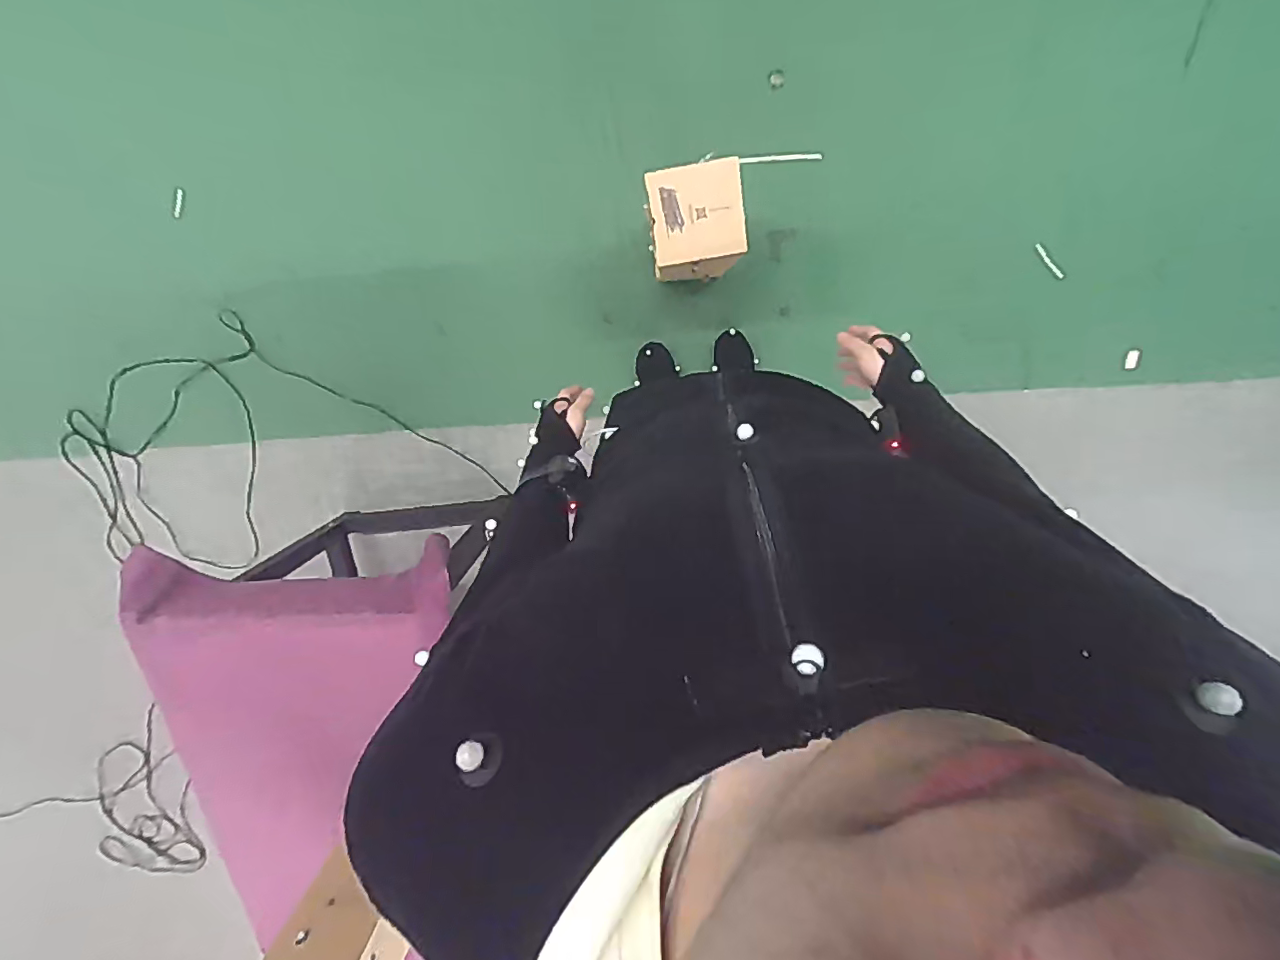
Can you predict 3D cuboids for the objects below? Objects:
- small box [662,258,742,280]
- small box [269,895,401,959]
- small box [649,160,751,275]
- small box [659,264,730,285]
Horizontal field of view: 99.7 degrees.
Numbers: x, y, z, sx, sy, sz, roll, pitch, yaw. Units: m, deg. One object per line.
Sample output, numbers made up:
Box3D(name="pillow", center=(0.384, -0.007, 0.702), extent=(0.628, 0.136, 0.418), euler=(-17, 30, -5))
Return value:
Box3D(name="small box", center=(0.132, -0.559, 1.242), extent=(0.179, 0.176, 0.168), euler=(-6, 106, 6))
Box3D(name="small box", center=(-0.544, 0.872, 0.947), extent=(0.168, 0.176, 0.179), euler=(1, 106, 4))
Box3D(name="small box", center=(0.118, -0.515, 1.084), extent=(0.179, 0.176, 0.168), euler=(-8, 106, 5))
Box3D(name="small box", center=(0.136, -0.602, 1.399), extent=(0.179, 0.176, 0.168), euler=(-3, 106, 5))
